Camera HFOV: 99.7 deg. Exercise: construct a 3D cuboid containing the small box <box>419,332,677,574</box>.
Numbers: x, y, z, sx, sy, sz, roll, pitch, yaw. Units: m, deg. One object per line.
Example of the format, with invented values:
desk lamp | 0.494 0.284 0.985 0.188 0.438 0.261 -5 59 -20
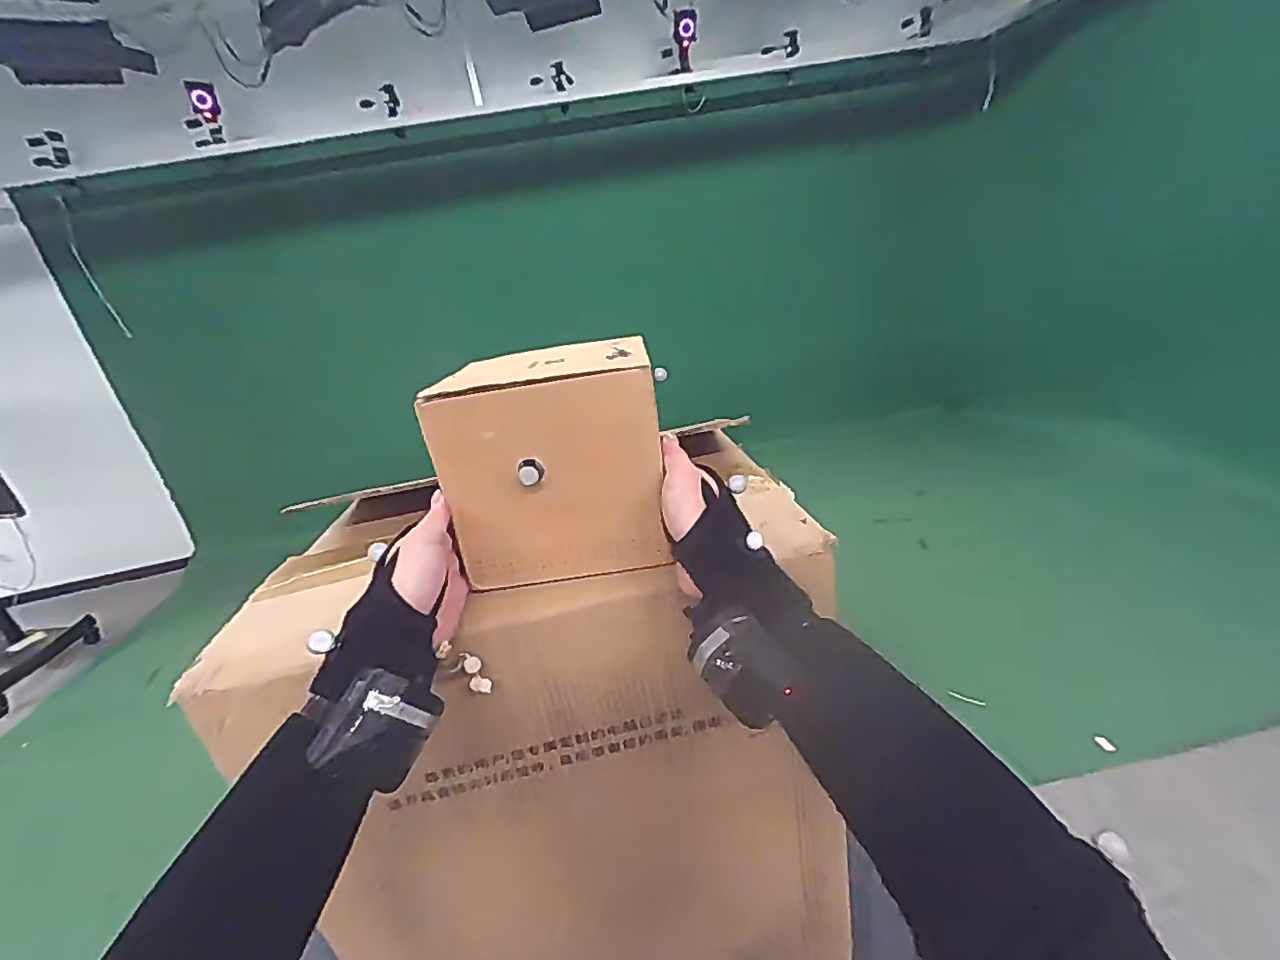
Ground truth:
small box | -0.068 -0.029 0.498 0.179 0.176 0.168 -9 23 2
